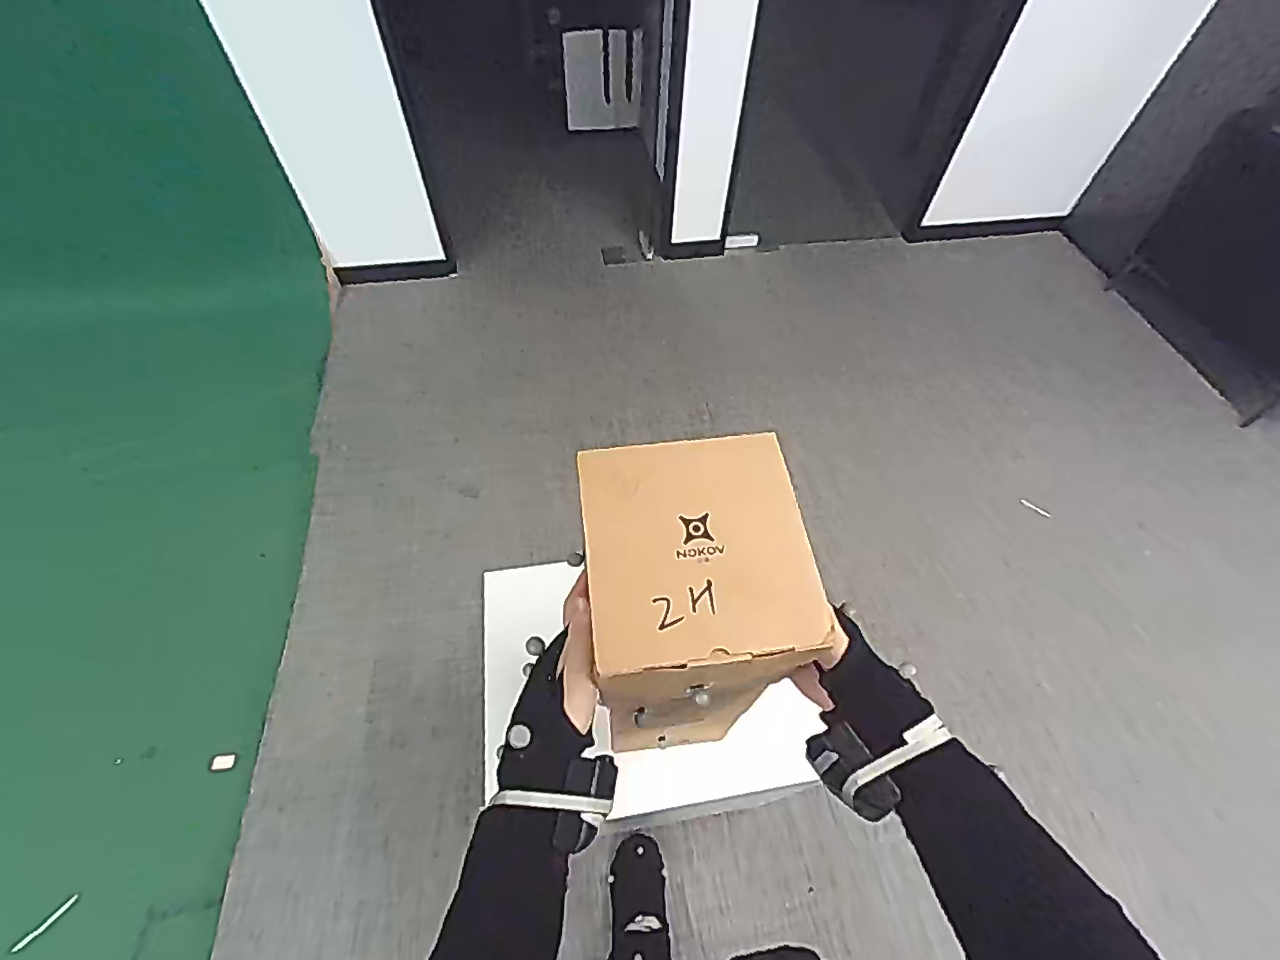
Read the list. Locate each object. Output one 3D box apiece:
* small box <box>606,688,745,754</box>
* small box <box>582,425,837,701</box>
[{"bbox_3d":[0.034,0.267,0.760,0.168,0.176,0.179,-5,54,-6],"label":"small box"},{"bbox_3d":[0.039,0.076,0.463,0.168,0.176,0.179,-5,59,-5],"label":"small box"}]
